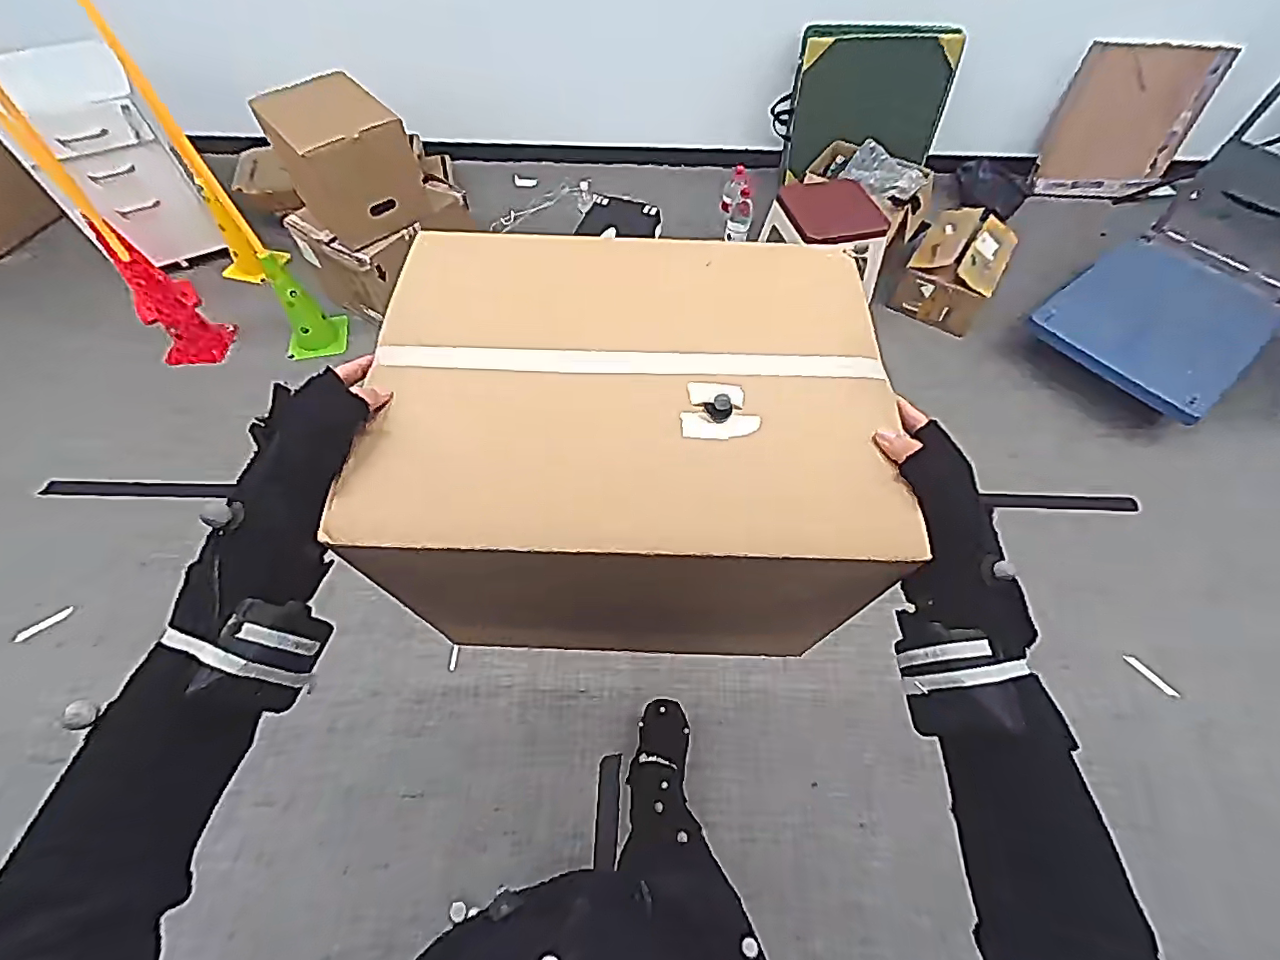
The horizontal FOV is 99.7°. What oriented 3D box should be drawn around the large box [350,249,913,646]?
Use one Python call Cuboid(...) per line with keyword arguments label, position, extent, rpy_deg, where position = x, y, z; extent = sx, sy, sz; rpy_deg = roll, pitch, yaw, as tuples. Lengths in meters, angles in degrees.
Cuboid(label="large box", position=(-0.008, -0.012, 0.577), extent=(0.408, 0.320, 0.320), rpy_deg=(2, 62, -1))
